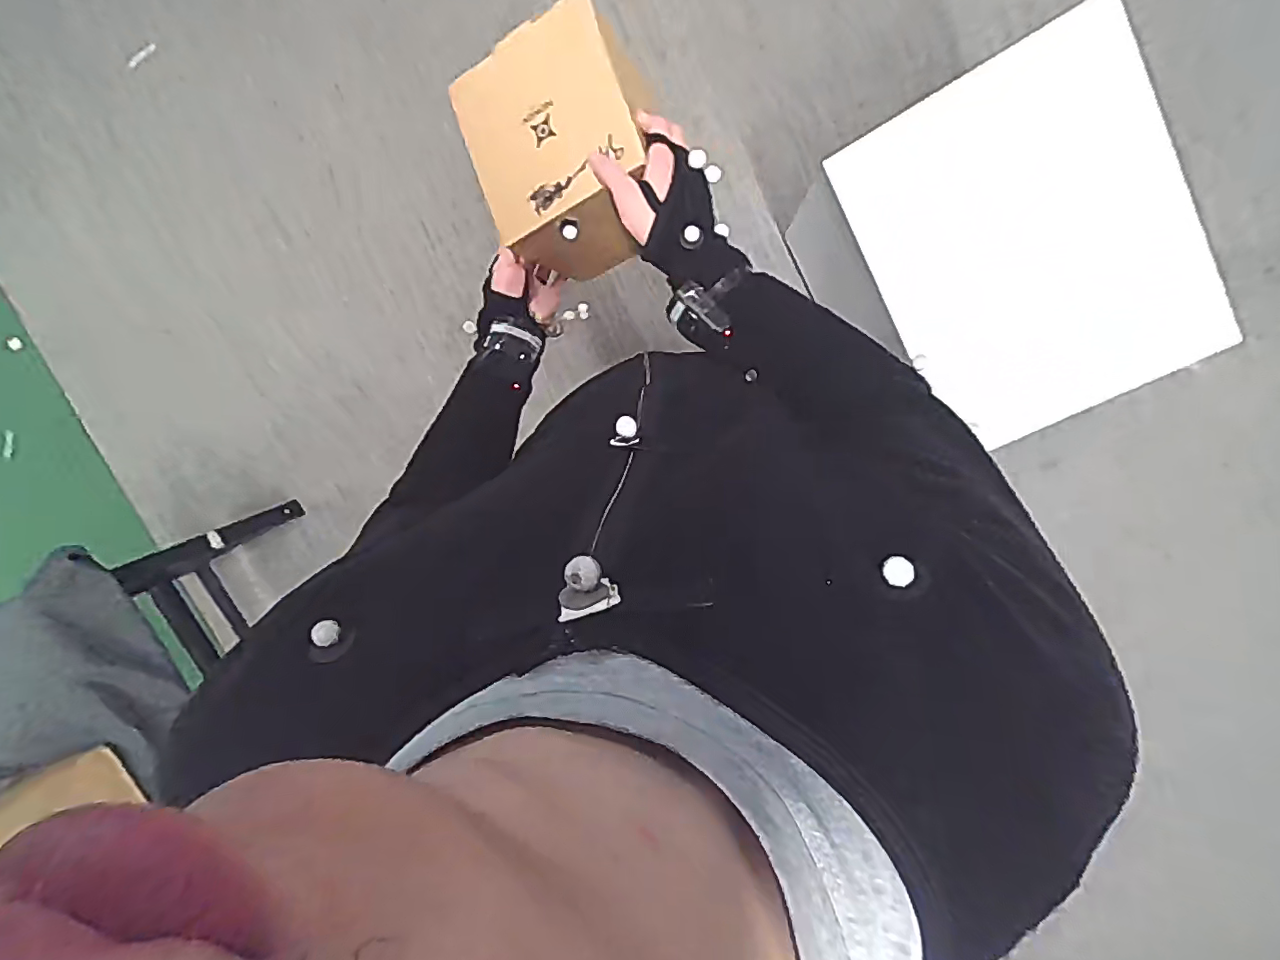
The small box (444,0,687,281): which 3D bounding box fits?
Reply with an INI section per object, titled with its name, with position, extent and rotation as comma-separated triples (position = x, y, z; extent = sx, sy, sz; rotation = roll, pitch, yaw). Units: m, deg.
[small box]
position = -0.069, -0.345, 0.585
extent = 0.168, 0.176, 0.179
rotation = -22, 88, 22
